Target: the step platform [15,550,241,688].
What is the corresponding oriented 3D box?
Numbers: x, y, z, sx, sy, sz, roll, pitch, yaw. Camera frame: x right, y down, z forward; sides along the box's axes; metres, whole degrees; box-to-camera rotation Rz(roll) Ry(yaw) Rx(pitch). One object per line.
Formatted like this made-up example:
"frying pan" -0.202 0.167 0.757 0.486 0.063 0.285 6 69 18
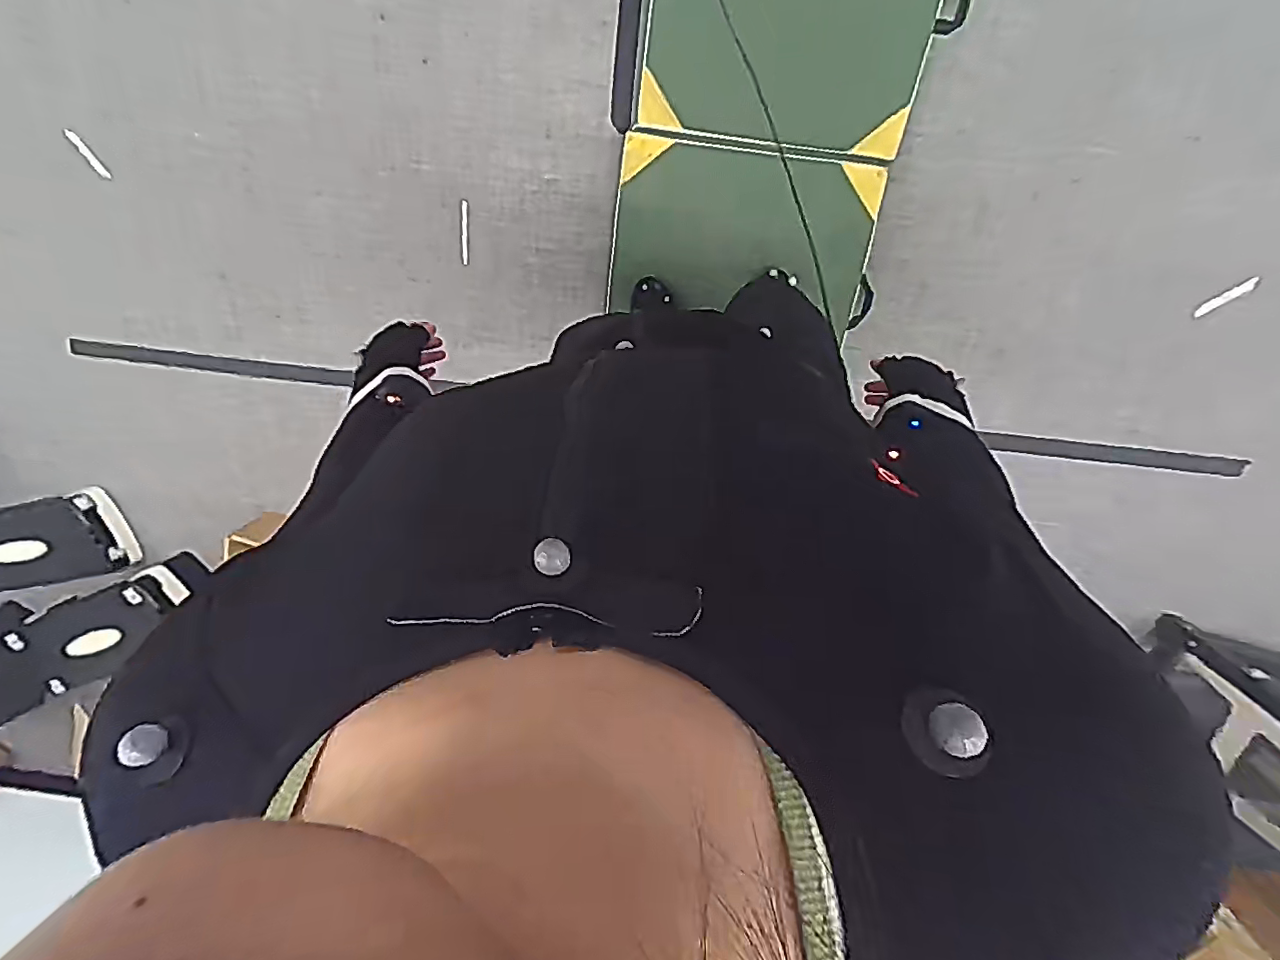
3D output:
"step platform" -1.781 0.490 1.883 0.684 0.204 0.286 -20 109 12
